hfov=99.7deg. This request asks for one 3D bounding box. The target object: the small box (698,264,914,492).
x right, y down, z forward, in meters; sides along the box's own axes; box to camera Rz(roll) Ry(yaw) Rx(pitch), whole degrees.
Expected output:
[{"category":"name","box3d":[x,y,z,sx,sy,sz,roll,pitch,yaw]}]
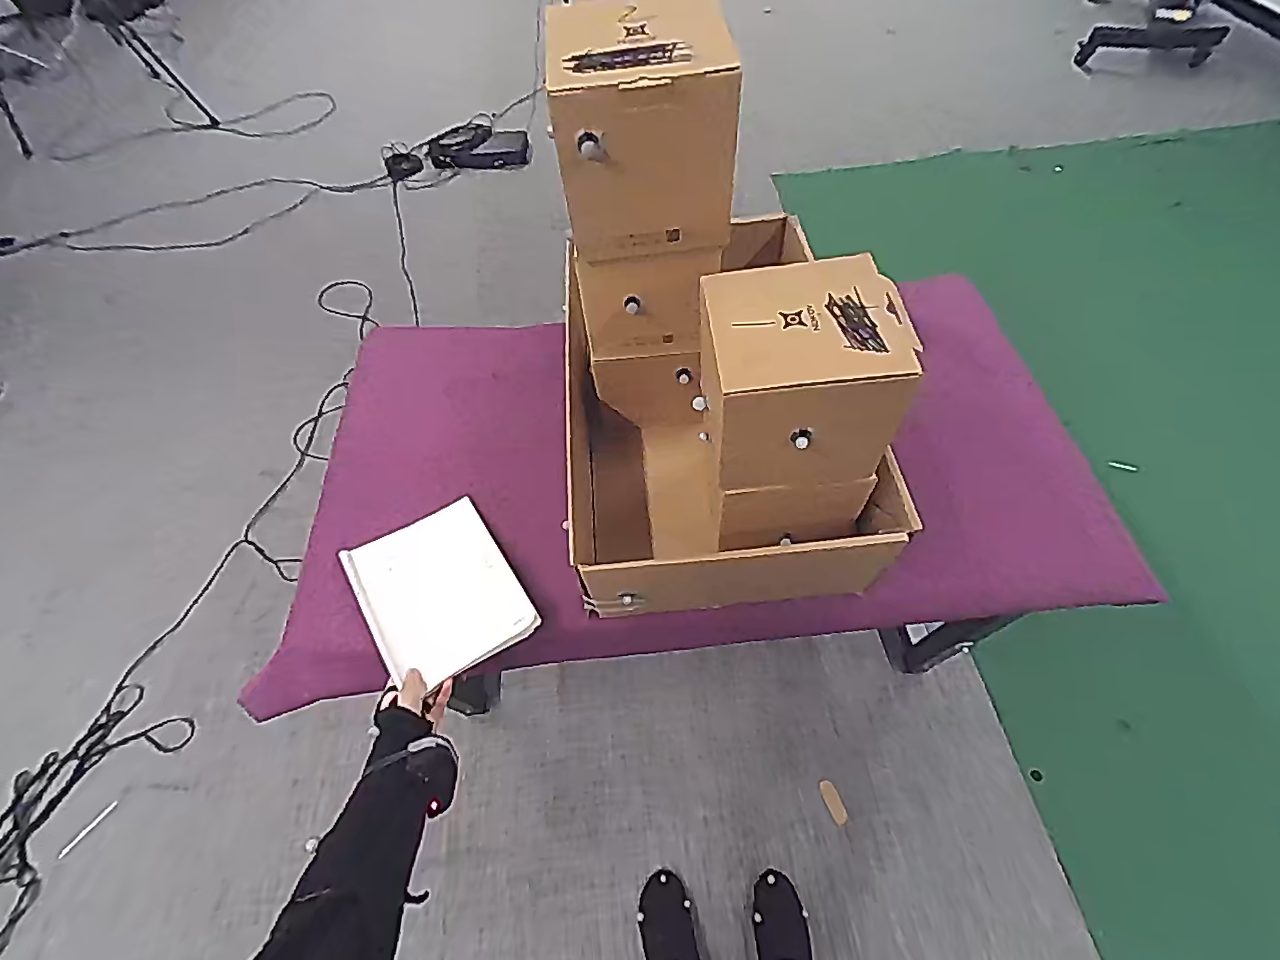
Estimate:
[{"category":"small box","box3d":[0.157,-0.102,0.582,0.179,0.176,0.168,-6,56,3]}]

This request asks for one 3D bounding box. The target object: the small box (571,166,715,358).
[{"category":"small box","box3d":[0.006,-0.276,0.712,0.168,0.176,0.179,-5,59,1]}]
